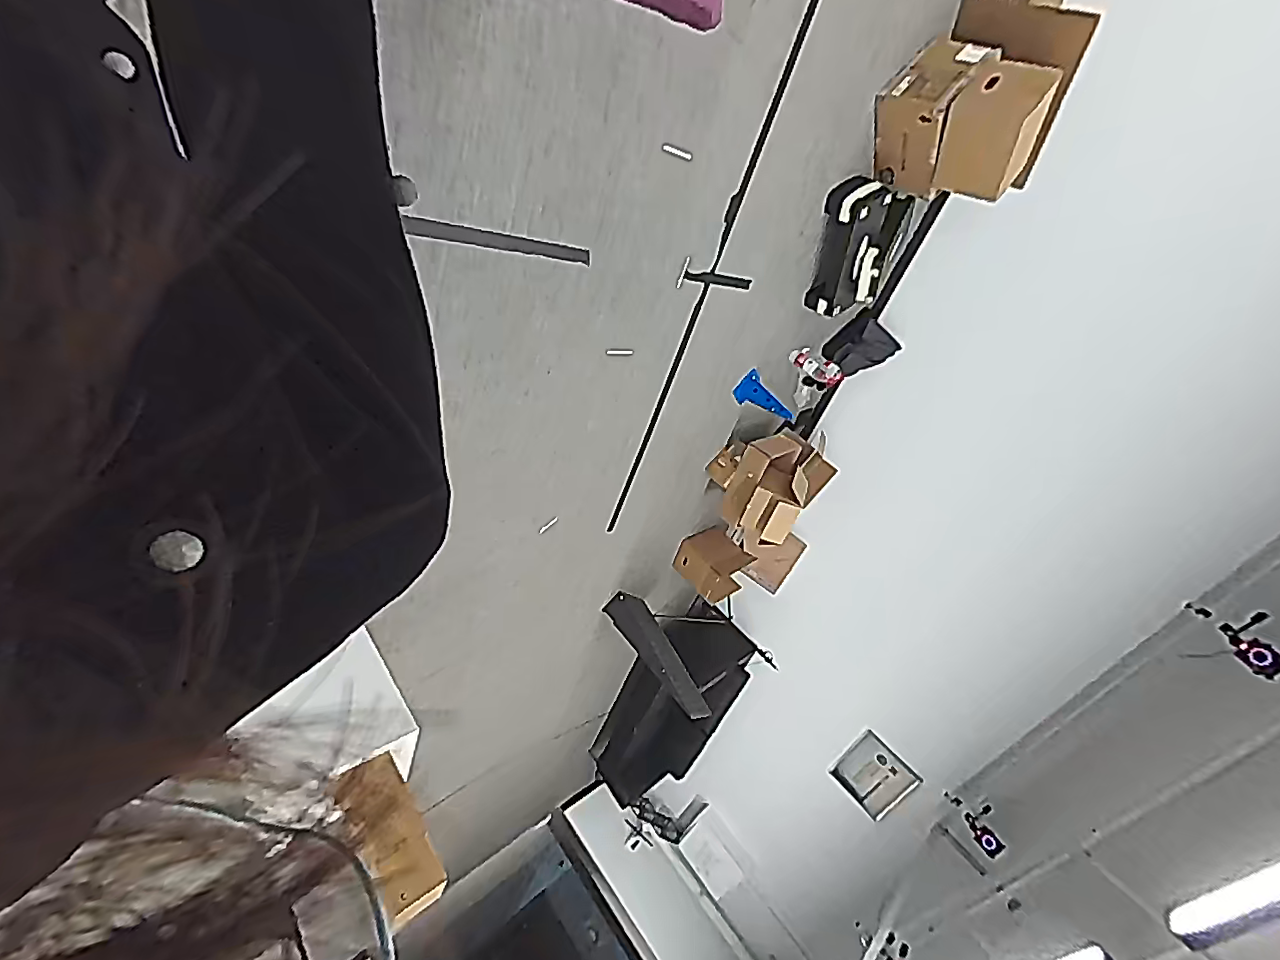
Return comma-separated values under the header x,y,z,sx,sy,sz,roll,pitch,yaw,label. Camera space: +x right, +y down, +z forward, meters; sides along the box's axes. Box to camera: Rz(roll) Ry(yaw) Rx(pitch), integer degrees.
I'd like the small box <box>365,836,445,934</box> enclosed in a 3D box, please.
x,y,z,sx,sy,sz,roll,pitch,yaw,label
-0.781,1.332,1.791,0.179,0.176,0.168,-11,136,-46,small box

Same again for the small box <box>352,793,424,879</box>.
x,y,z,sx,sy,sz,roll,pitch,yaw,label
-0.880,1.234,1.878,0.168,0.176,0.179,-11,135,-48,small box
